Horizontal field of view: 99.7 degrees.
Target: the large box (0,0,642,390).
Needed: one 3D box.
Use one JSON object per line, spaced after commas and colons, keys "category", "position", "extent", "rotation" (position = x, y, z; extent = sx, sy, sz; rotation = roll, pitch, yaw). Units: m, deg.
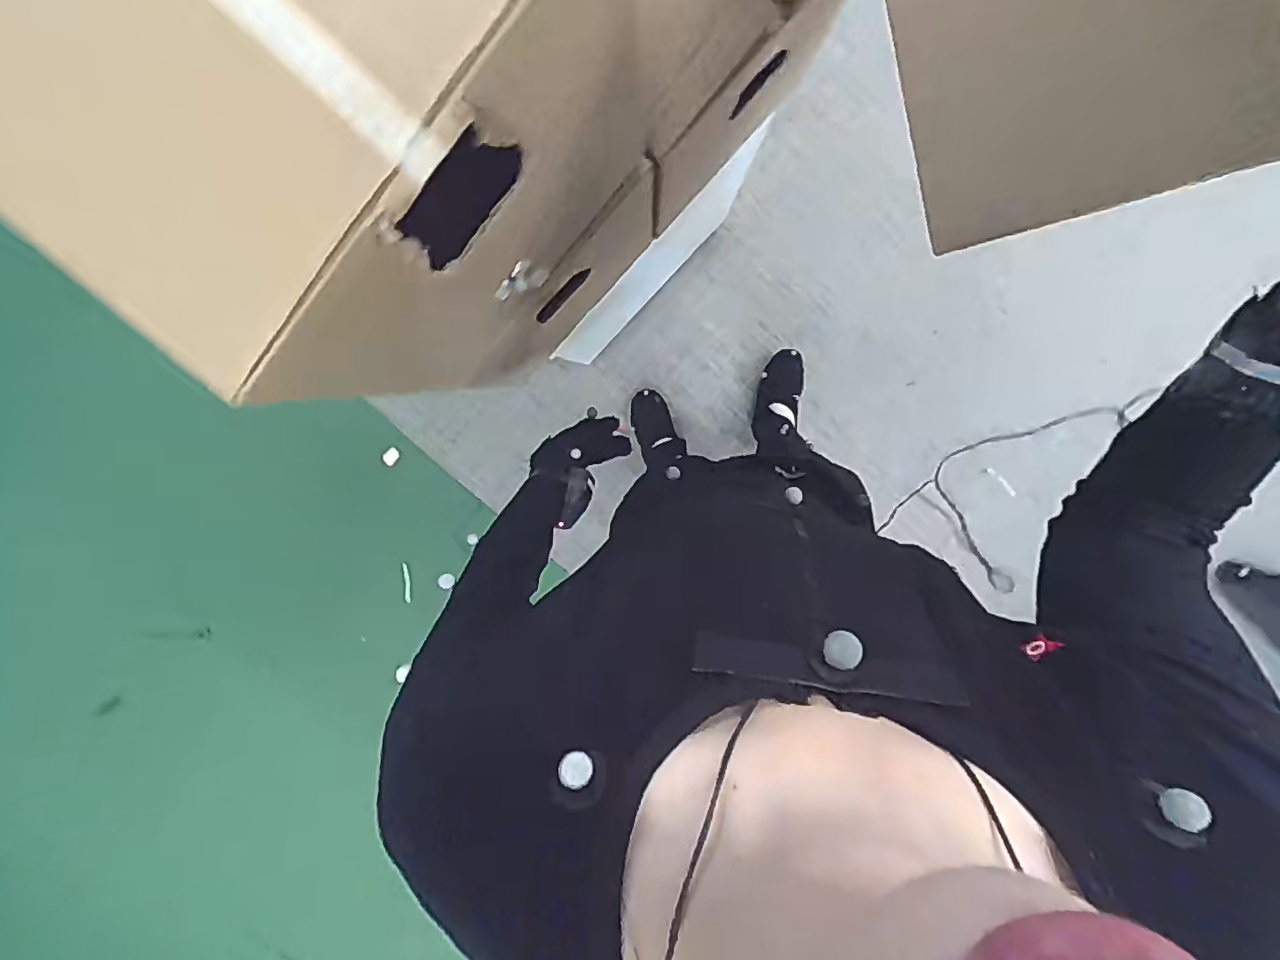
{"category": "large box", "position": [-0.250, -0.308, 0.387], "extent": [0.408, 0.320, 0.320], "rotation": [41, 98, -4]}
